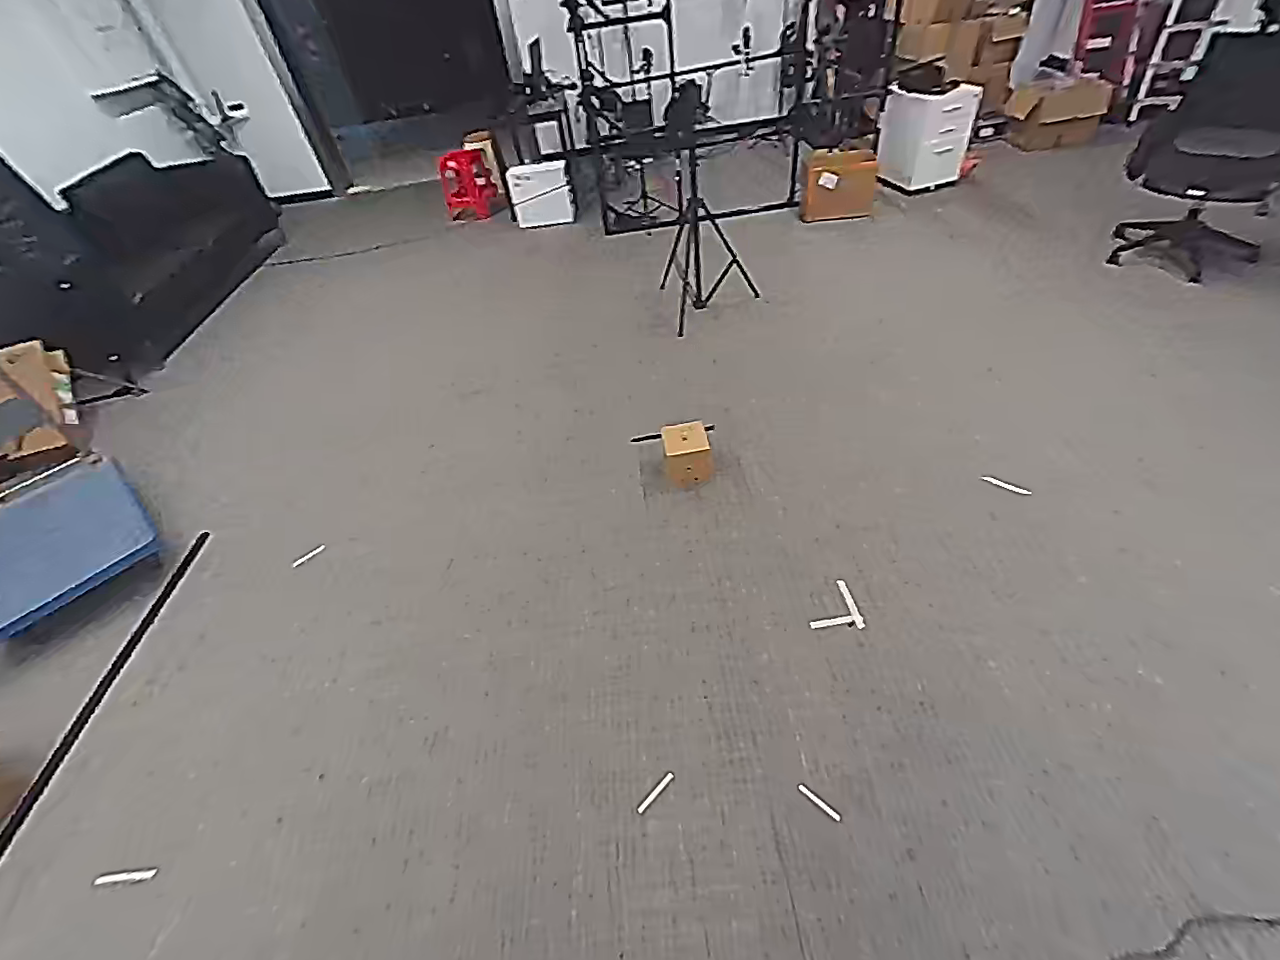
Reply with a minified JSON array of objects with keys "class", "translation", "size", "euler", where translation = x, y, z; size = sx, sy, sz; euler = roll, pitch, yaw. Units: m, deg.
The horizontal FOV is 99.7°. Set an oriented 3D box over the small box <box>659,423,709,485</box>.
[{"class":"small box","translation":[0.175,-0.094,2.129],"size":[0.168,0.176,0.179],"euler":[-9,43,0]}]
